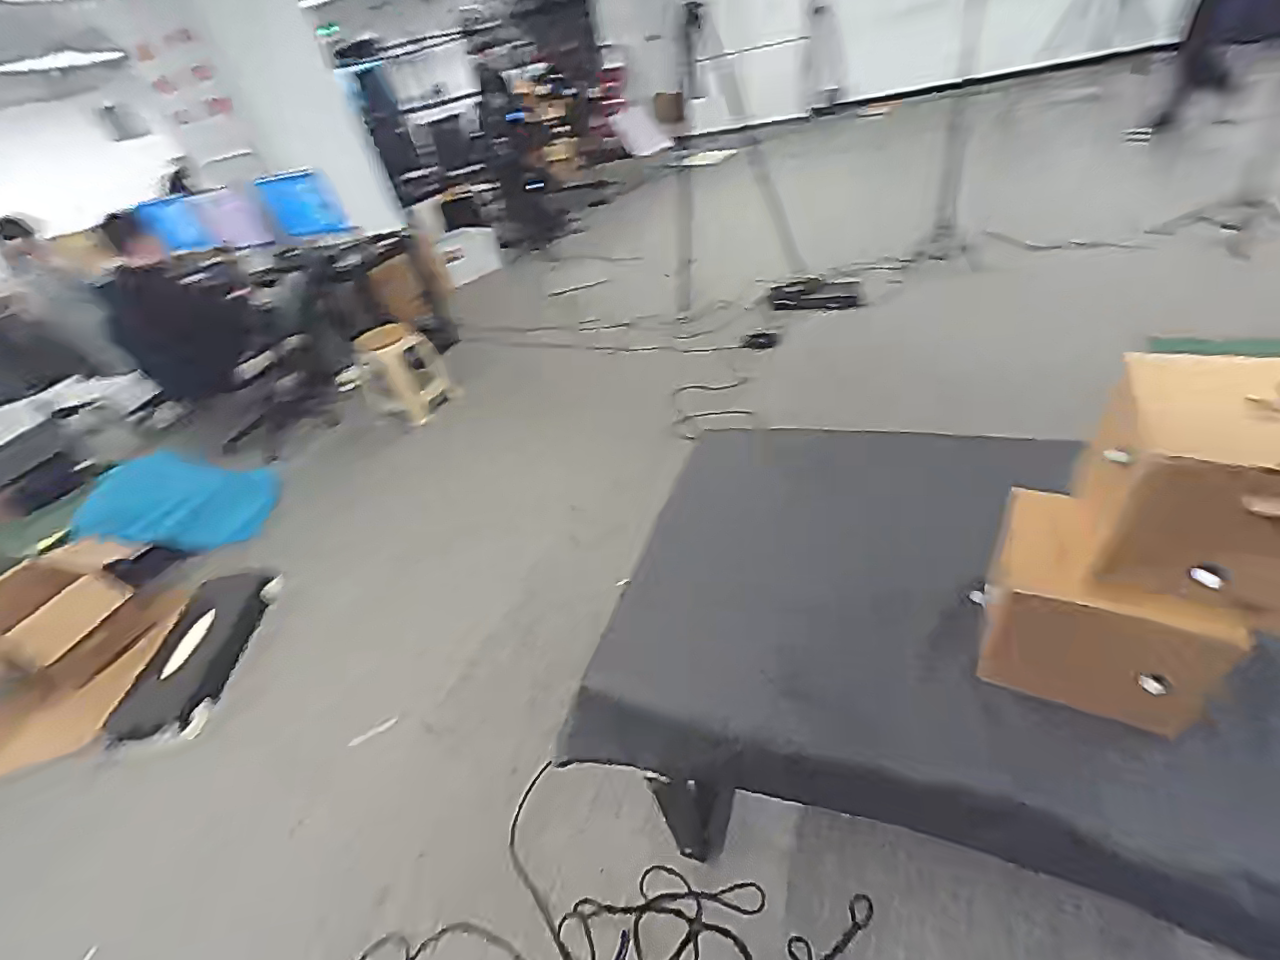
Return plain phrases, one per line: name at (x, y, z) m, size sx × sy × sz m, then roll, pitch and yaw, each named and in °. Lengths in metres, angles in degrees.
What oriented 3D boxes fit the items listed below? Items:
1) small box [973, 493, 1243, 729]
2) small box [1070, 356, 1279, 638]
small box at (0.487, 0.141, 0.594) m, size 0.179 × 0.176 × 0.168 m, roll 10°, pitch 43°, yaw 29°
small box at (0.516, 0.007, 0.488) m, size 0.168 × 0.176 × 0.179 m, roll 10°, pitch 44°, yaw 27°
